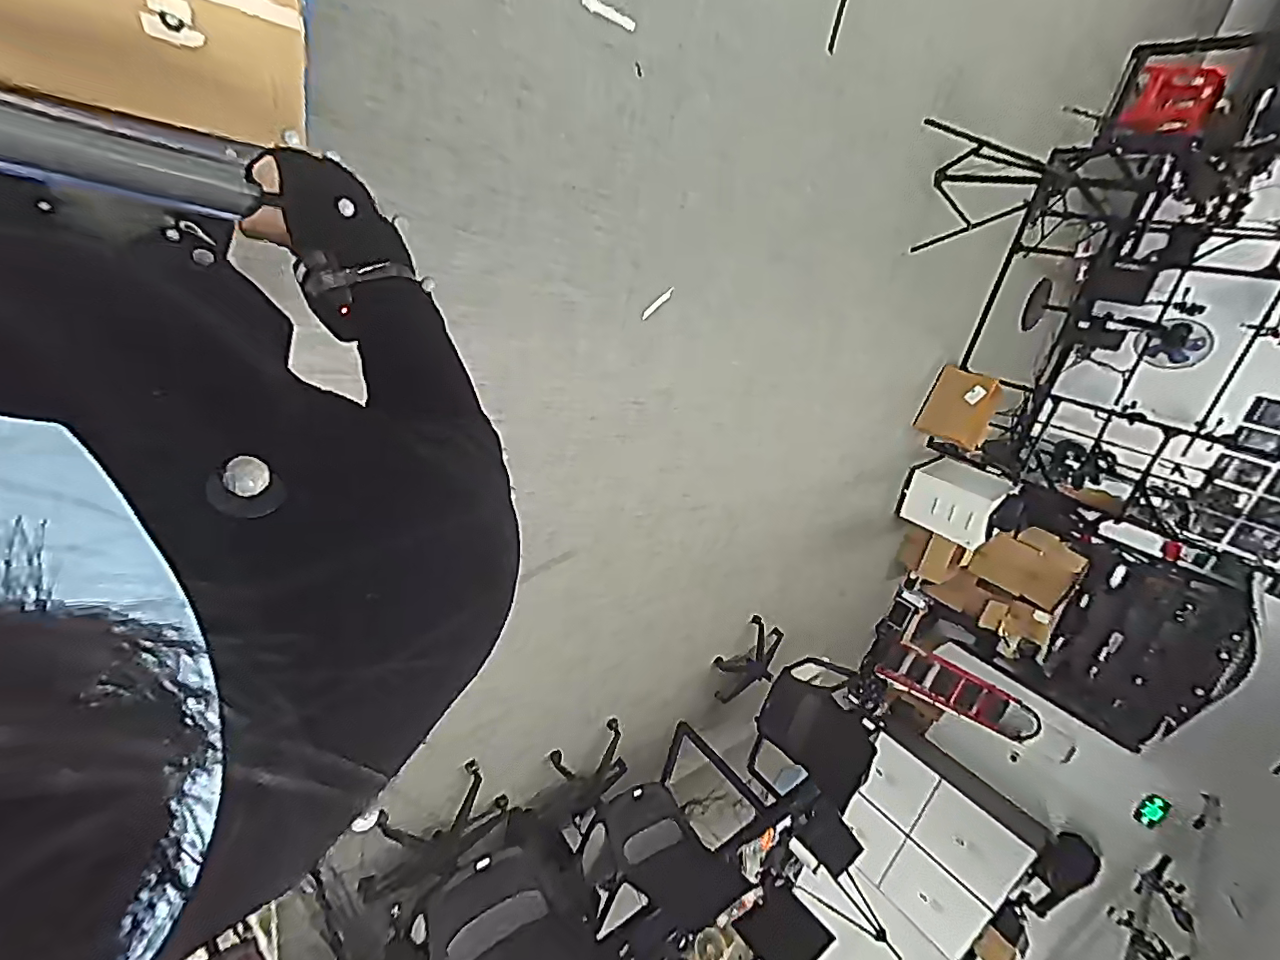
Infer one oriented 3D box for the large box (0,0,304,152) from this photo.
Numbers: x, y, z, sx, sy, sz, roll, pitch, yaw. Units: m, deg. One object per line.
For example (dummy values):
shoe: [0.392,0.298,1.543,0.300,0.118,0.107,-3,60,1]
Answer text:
large box: [-0.704,-0.643,0.690,0.408,0.320,0.320,-9,121,-41]
